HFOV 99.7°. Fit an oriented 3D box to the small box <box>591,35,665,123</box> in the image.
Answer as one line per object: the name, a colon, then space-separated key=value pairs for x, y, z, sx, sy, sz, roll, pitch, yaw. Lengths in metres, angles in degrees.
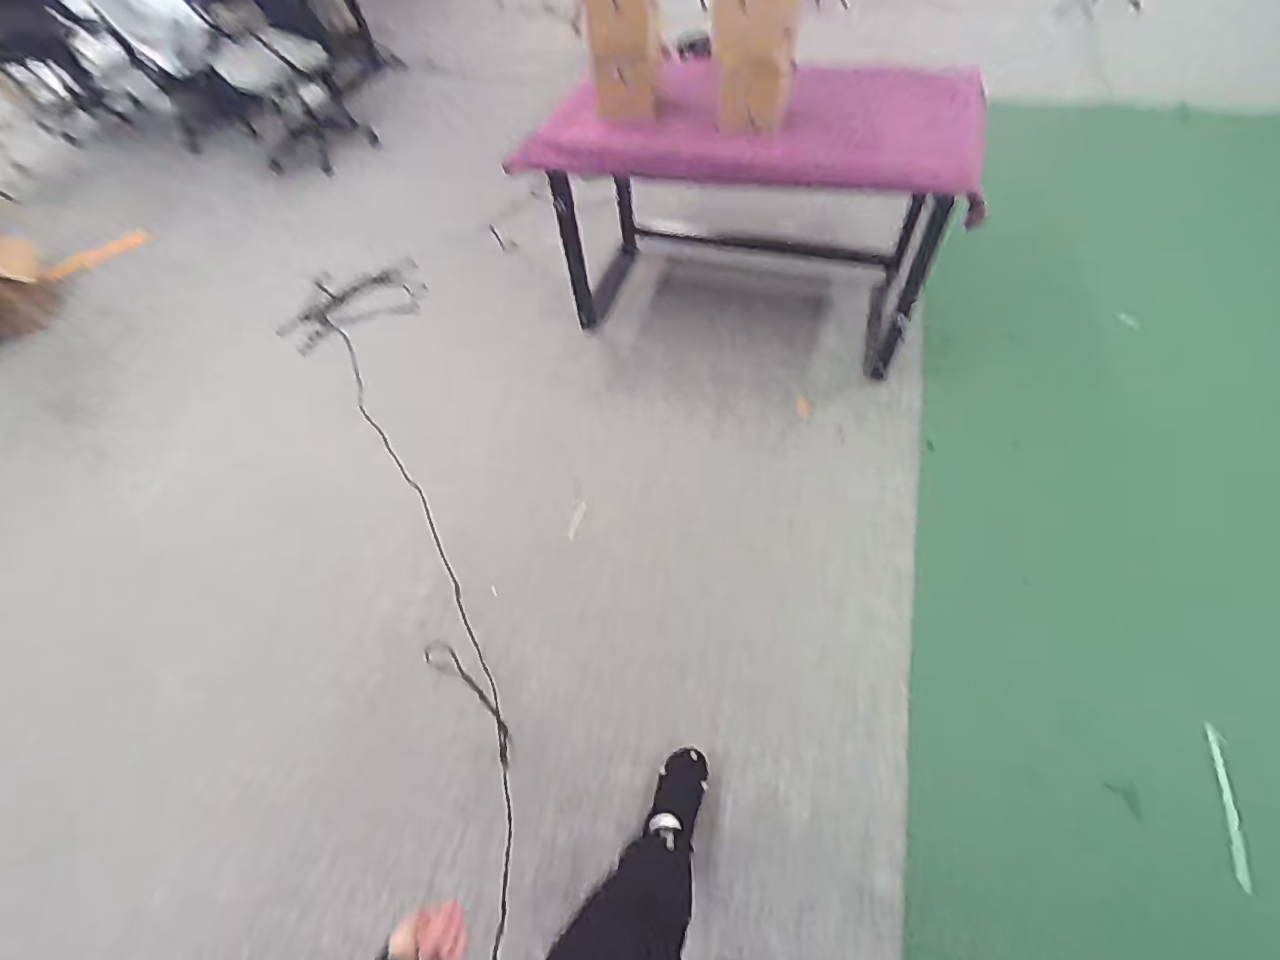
small box: x=-0.028 y=-1.182 z=1.595 sx=0.179 sy=0.176 sz=0.168 roll=9 pitch=58 yaw=11

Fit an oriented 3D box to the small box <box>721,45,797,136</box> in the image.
small box: x=0.324 y=-1.088 z=1.496 sx=0.168 sy=0.176 sz=0.179 roll=15 pitch=59 yaw=15

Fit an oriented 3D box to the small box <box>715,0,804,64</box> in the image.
small box: x=0.299 y=-1.180 z=1.362 sx=0.179 sy=0.176 sz=0.168 roll=25 pitch=62 yaw=20

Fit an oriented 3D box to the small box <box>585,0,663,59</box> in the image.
small box: x=-0.038 y=-1.267 z=1.458 sx=0.179 sy=0.176 sz=0.168 roll=7 pitch=58 yaw=11
